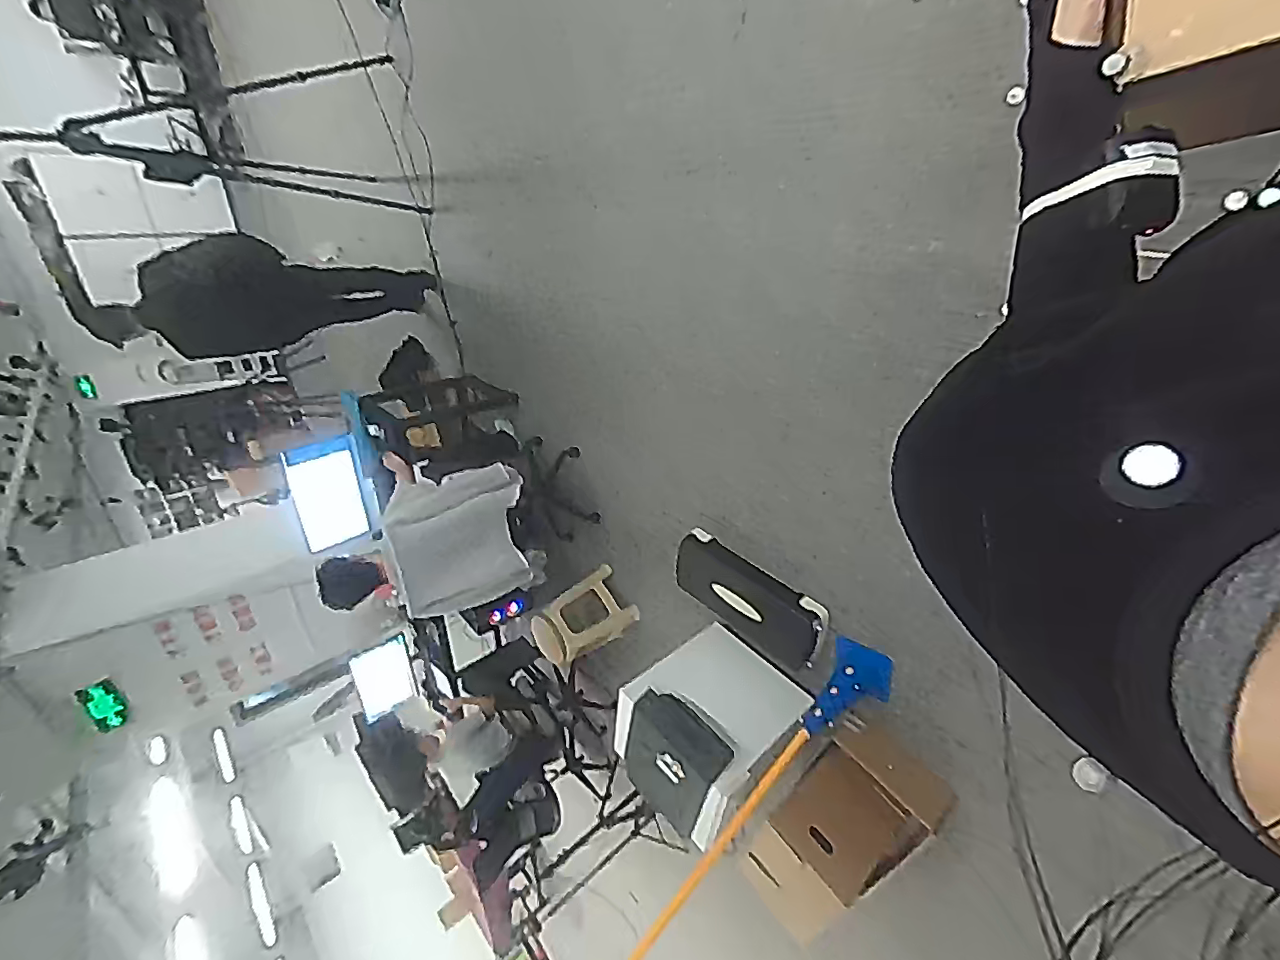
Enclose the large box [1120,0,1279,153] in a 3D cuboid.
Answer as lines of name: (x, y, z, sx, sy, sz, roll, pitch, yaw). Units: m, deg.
large box: (0.564, -0.437, 0.309, 0.408, 0.320, 0.320, 7, 109, 42)
